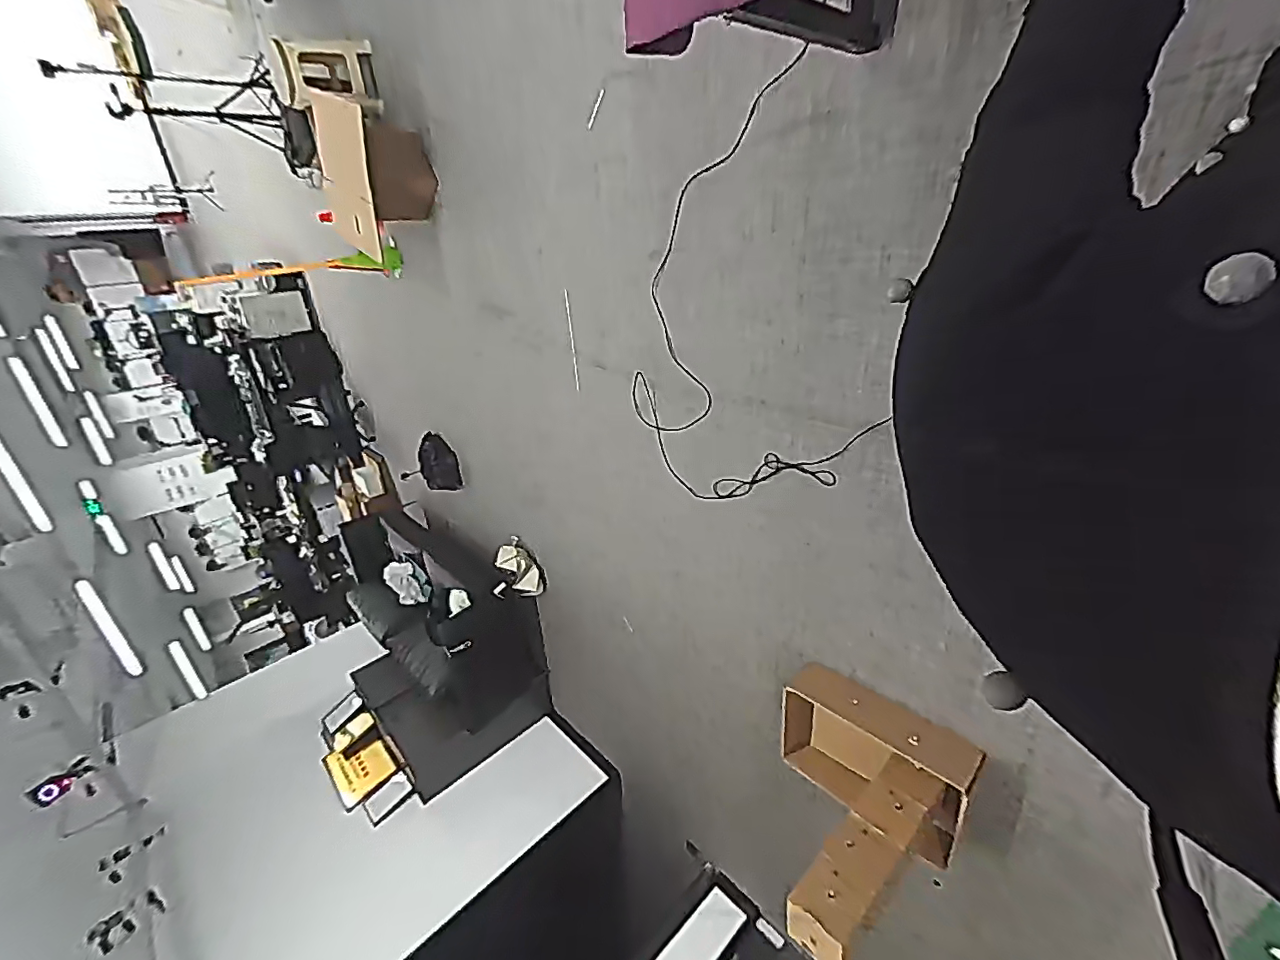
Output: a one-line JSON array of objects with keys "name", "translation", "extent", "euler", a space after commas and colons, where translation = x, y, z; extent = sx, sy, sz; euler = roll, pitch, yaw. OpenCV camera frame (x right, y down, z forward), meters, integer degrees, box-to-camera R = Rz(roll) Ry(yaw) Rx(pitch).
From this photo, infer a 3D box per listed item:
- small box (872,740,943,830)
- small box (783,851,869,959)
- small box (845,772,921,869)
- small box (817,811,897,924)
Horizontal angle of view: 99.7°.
[{"name": "small box", "translation": [0.875, 1.011, 1.784], "extent": [0.168, 0.176, 0.179], "euler": [22, 127, 42]}, {"name": "small box", "translation": [0.518, 1.193, 1.503], "extent": [0.168, 0.176, 0.179], "euler": [20, 125, 46]}, {"name": "small box", "translation": [0.756, 1.069, 1.690], "extent": [0.168, 0.176, 0.179], "euler": [21, 126, 44]}, {"name": "small box", "translation": [0.638, 1.133, 1.596], "extent": [0.168, 0.176, 0.179], "euler": [20, 126, 45]}]
